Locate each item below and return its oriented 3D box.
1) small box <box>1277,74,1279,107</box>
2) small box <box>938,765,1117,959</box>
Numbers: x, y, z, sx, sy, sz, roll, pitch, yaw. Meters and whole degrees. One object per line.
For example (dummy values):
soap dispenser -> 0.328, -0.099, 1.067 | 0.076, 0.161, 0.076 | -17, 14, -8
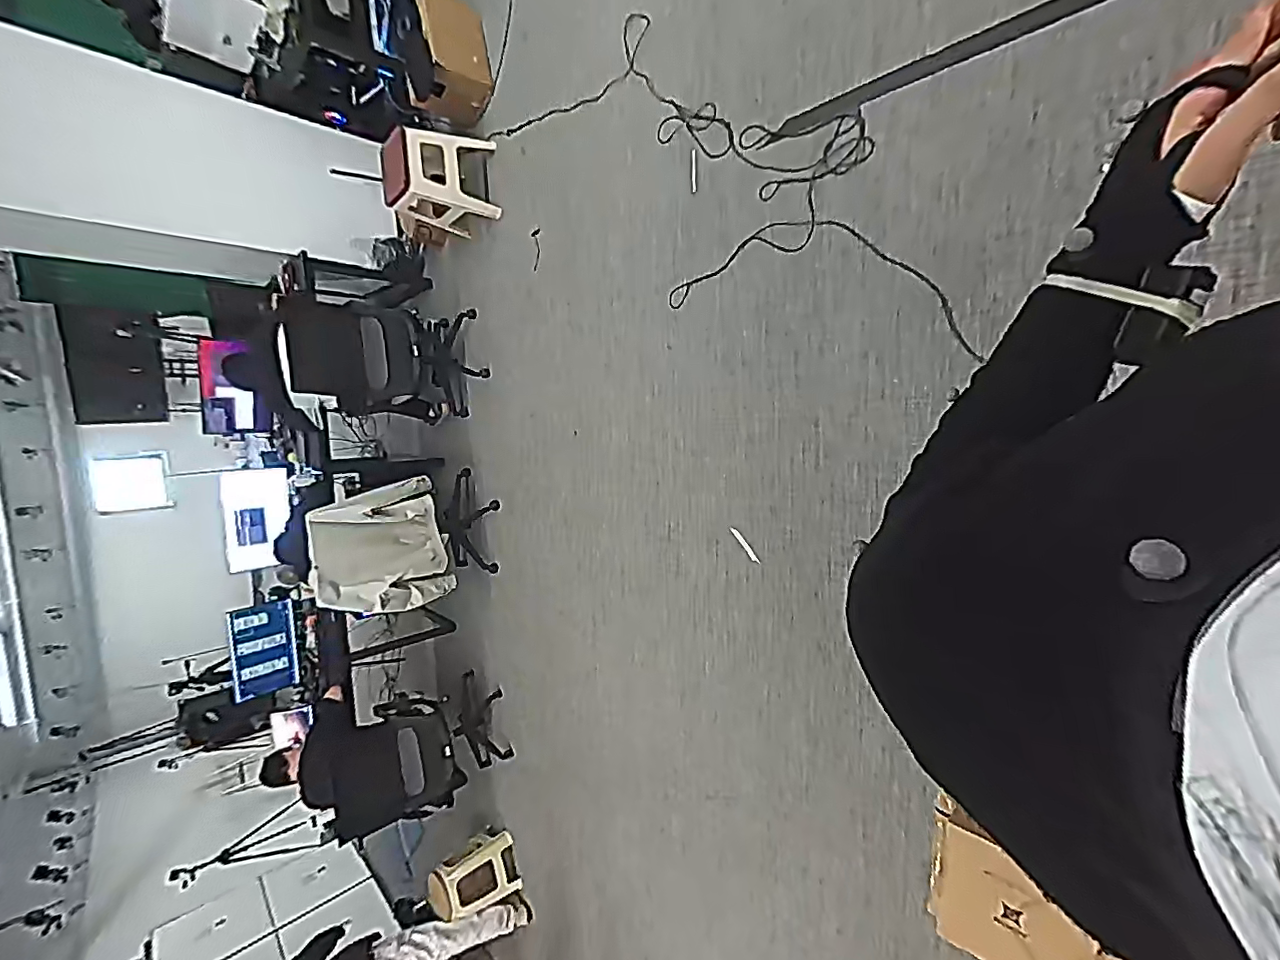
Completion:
small box -> 0.474, -0.317, 0.274 | 0.179, 0.176, 0.168 | 11, 110, 45
small box -> 0.528, 0.535, 0.736 | 0.168, 0.176, 0.179 | 7, 98, 45
